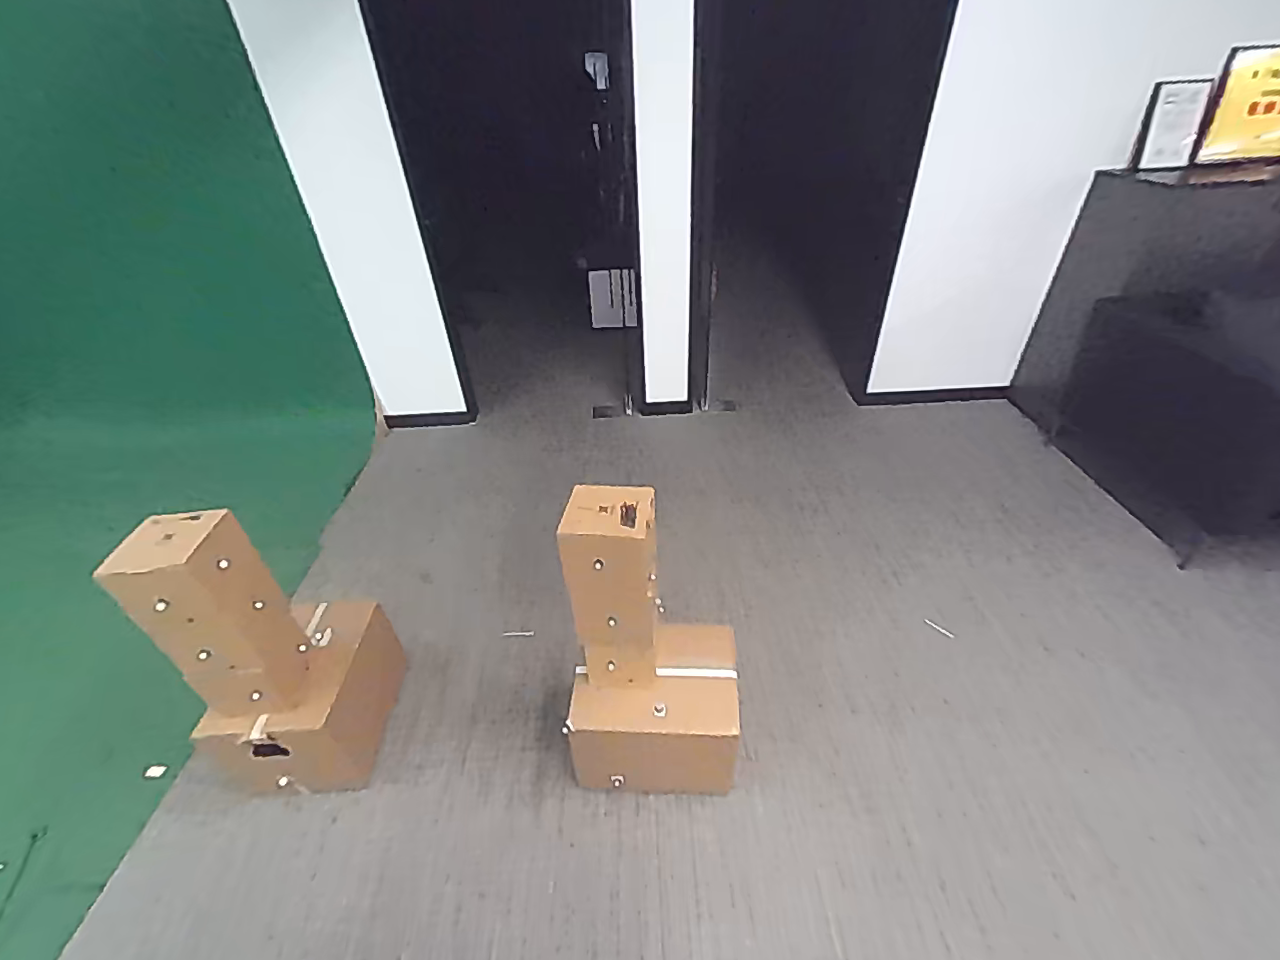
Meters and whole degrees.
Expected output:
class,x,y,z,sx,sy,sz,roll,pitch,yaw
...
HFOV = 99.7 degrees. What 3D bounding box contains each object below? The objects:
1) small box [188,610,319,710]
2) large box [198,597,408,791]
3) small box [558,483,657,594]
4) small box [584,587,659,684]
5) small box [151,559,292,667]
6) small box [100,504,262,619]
class,x,y,z,sx,sy,sz,roll,pitch,yaw
small box,-0.929,0.442,1.324,0.179,0.176,0.168,-5,36,-1
large box,-0.906,0.593,1.527,0.320,0.320,0.408,-3,36,-1
small box,-0.060,0.124,1.150,0.179,0.176,0.168,2,36,9
small box,-0.039,0.387,1.348,0.168,0.176,0.179,1,36,4
small box,-0.935,0.307,1.232,0.168,0.176,0.179,-6,36,-5
small box,-0.939,0.176,1.132,0.168,0.176,0.179,-5,37,-3
